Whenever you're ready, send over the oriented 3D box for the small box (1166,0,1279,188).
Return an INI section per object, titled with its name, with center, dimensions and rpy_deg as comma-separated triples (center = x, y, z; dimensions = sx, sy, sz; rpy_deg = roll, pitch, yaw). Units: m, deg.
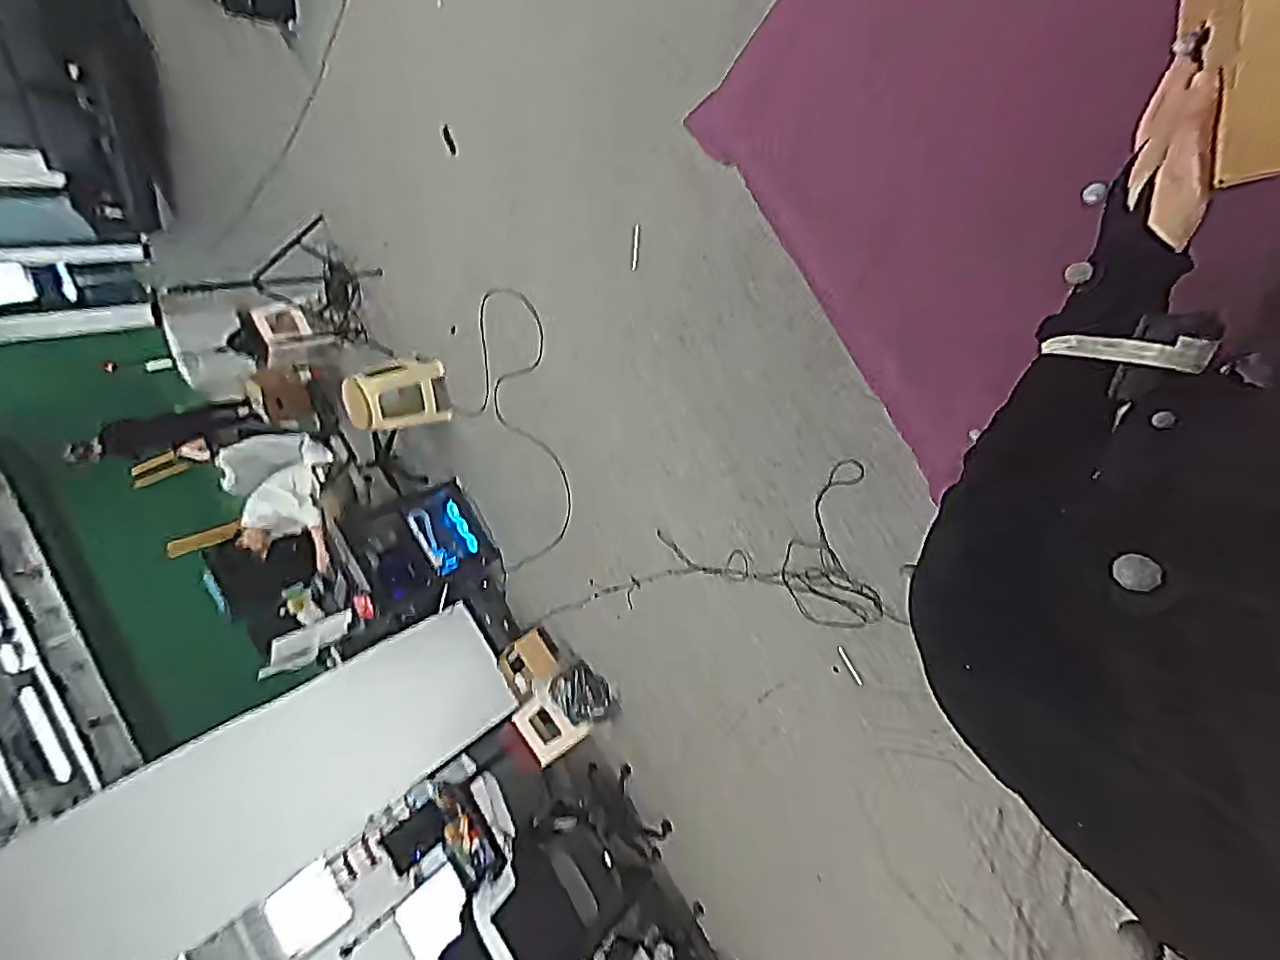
[small box]
center = 0.439, -0.284, 0.314
dimensions = 0.168, 0.176, 0.179
rpy_deg = 3, 110, 35
